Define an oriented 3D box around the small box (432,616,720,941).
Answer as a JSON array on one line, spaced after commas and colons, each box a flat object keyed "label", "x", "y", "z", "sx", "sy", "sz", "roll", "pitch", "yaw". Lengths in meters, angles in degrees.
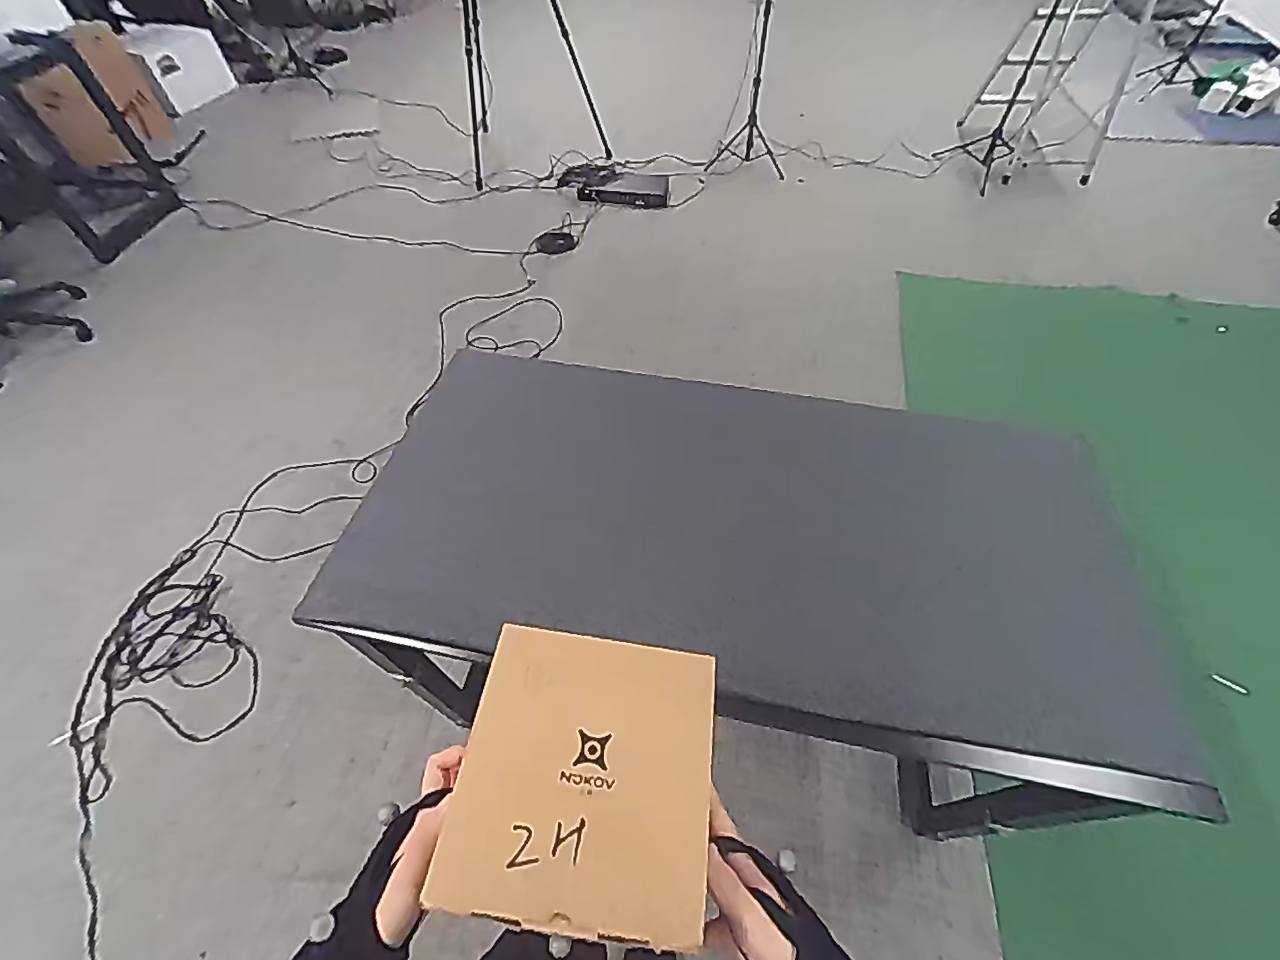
[{"label": "small box", "x": -0.037, "y": 0.234, "z": 0.423, "sx": 0.168, "sy": 0.176, "sz": 0.179, "roll": 9, "pitch": 50, "yaw": 1}]
